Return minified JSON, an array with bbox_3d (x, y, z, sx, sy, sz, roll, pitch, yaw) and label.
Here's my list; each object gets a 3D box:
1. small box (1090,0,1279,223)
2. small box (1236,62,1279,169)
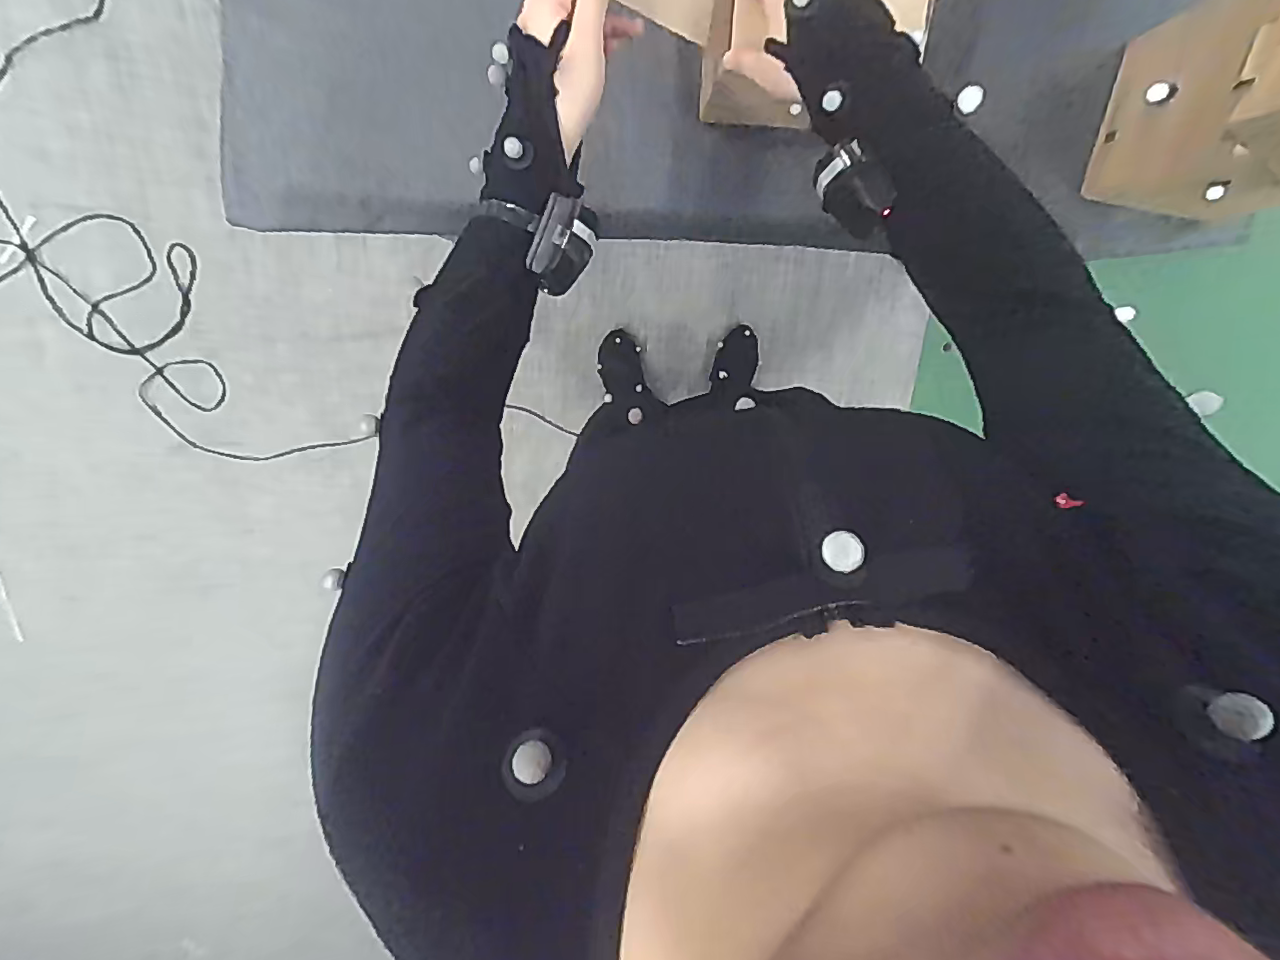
[{"bbox_3d":[0.634,-0.382,0.564,0.179,0.176,0.168,7,104,-4],"label":"small box"},{"bbox_3d":[0.644,-0.324,0.411,0.179,0.176,0.168,28,101,-10],"label":"small box"}]
